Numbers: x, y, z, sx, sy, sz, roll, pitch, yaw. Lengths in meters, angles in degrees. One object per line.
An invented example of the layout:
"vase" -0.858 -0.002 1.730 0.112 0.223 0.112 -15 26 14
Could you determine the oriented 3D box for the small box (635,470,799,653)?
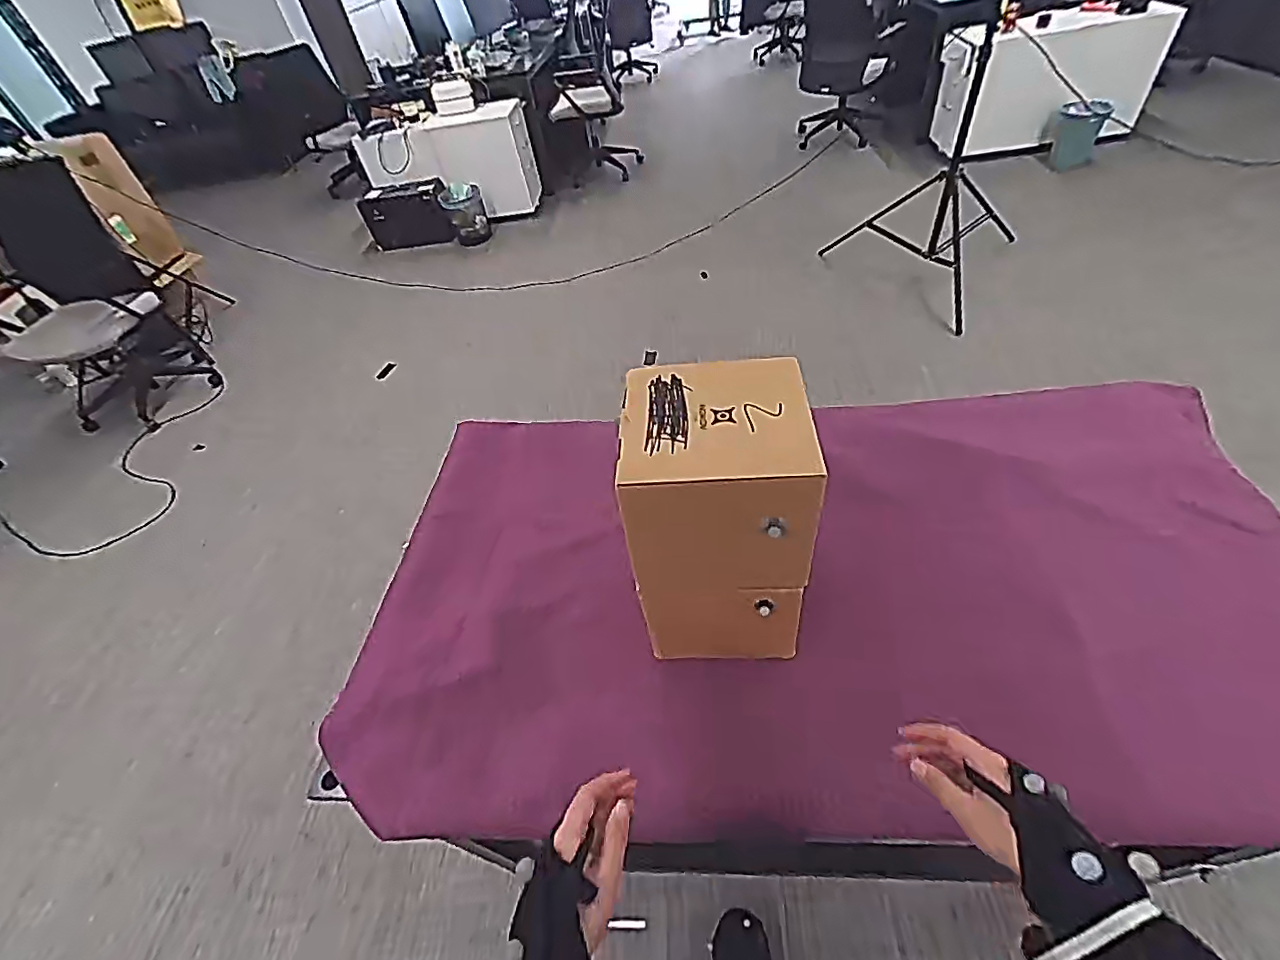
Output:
"small box" 0.096 0.106 0.679 0.179 0.176 0.168 -3 47 7
